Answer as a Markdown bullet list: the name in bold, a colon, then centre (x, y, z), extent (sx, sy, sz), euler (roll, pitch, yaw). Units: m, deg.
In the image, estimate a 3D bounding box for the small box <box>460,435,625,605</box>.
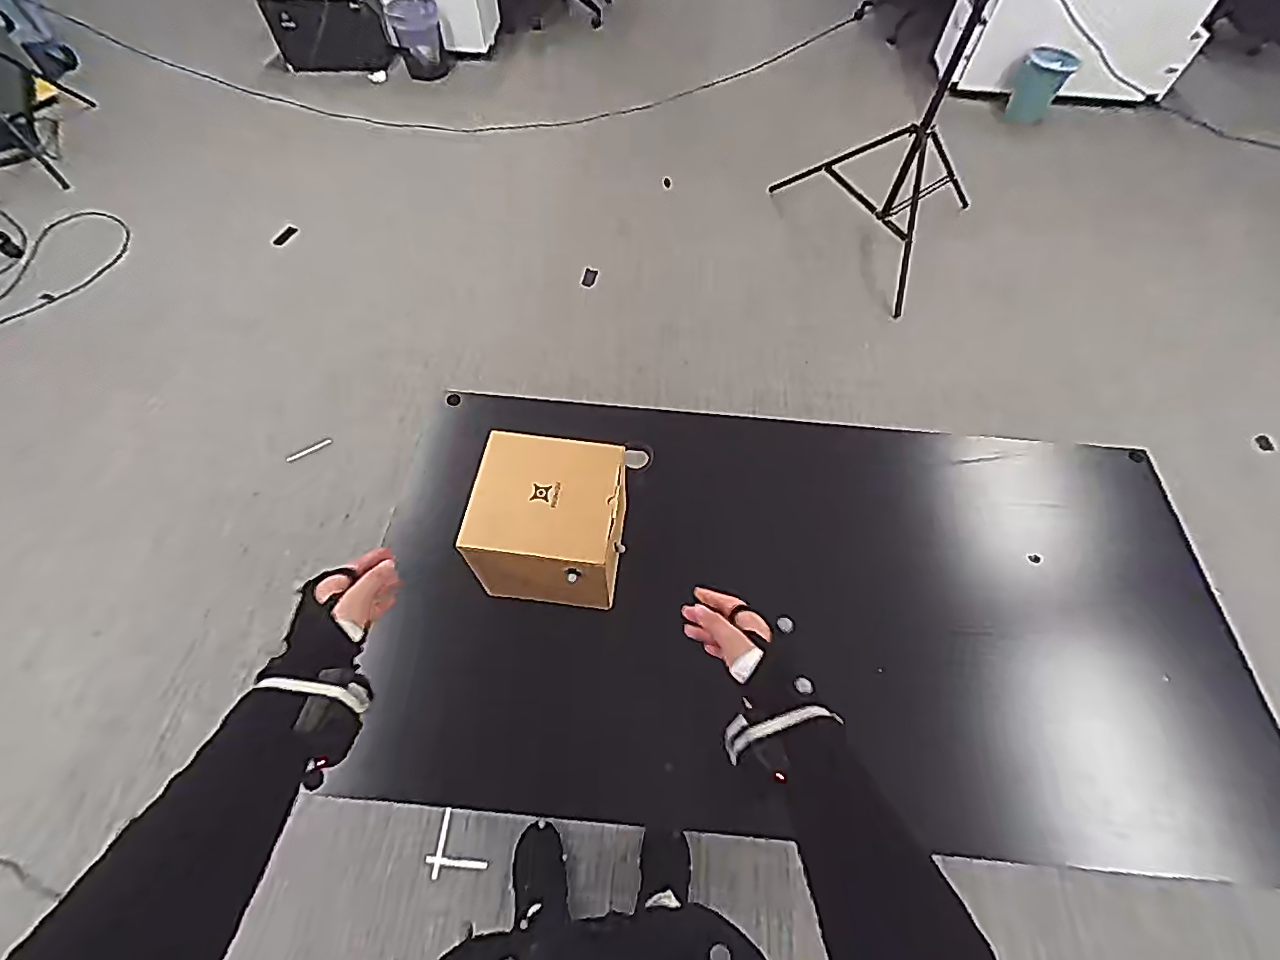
- **small box**: centre (-0.117, 0.060, 0.731), extent (0.179, 0.176, 0.168), euler (7, 60, 1)
